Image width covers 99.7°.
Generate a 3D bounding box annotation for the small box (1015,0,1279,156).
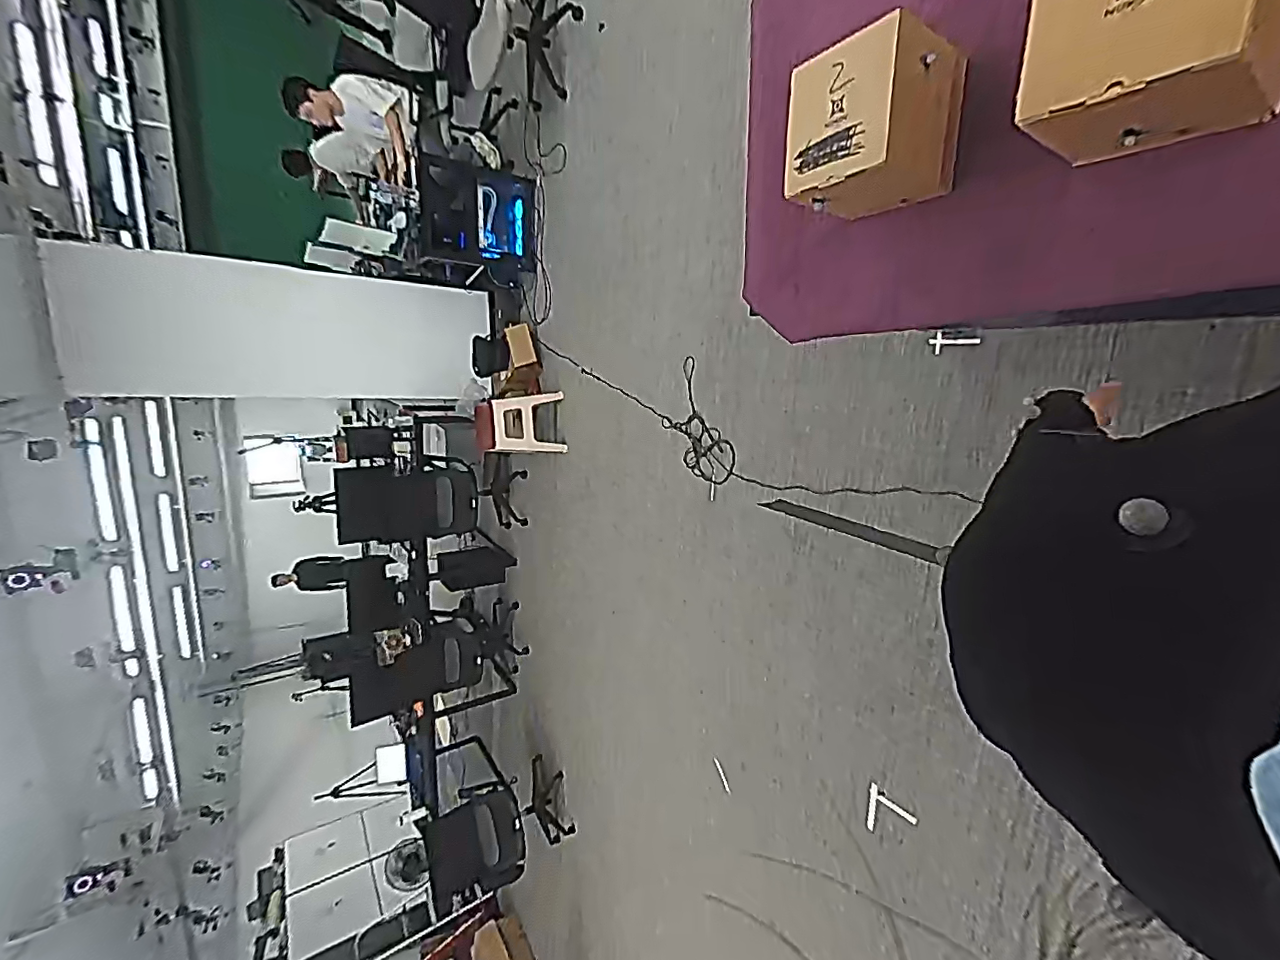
[{"bbox_3d":[0.502,-0.448,0.522,0.168,0.176,0.179,18,110,54],"label":"small box"}]
